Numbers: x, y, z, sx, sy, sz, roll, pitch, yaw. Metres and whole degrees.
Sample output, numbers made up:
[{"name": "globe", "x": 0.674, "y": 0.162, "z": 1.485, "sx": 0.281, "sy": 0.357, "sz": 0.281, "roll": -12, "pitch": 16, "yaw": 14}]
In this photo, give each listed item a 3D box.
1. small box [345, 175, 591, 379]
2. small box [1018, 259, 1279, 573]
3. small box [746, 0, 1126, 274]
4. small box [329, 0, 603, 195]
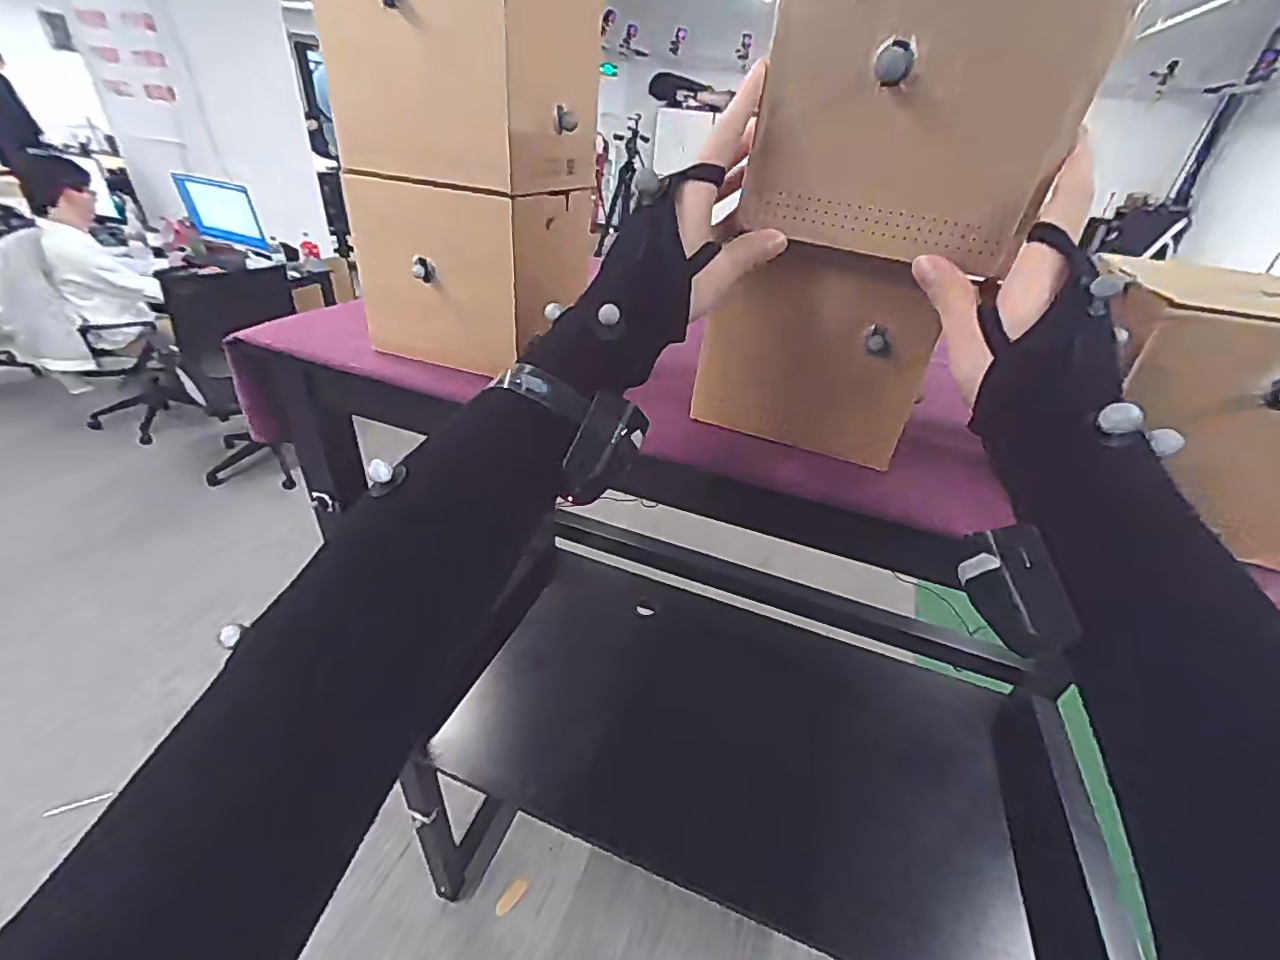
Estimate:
[{"name": "small box", "x": -0.164, "y": -0.219, "z": 0.570, "sx": 0.179, "sy": 0.176, "sz": 0.168, "roll": 14, "pitch": 33, "yaw": 13}, {"name": "small box", "x": 0.422, "y": -0.056, "z": 0.413, "sx": 0.179, "sy": 0.176, "sz": 0.168, "roll": 17, "pitch": 37, "yaw": 16}, {"name": "small box", "x": 0.184, "y": -0.250, "z": 0.370, "sx": 0.179, "sy": 0.176, "sz": 0.168, "roll": 18, "pitch": 36, "yaw": 16}, {"name": "small box", "x": -0.147, "y": -0.357, "z": 0.481, "sx": 0.179, "sy": 0.176, "sz": 0.168, "roll": 16, "pitch": 34, "yaw": 14}]
